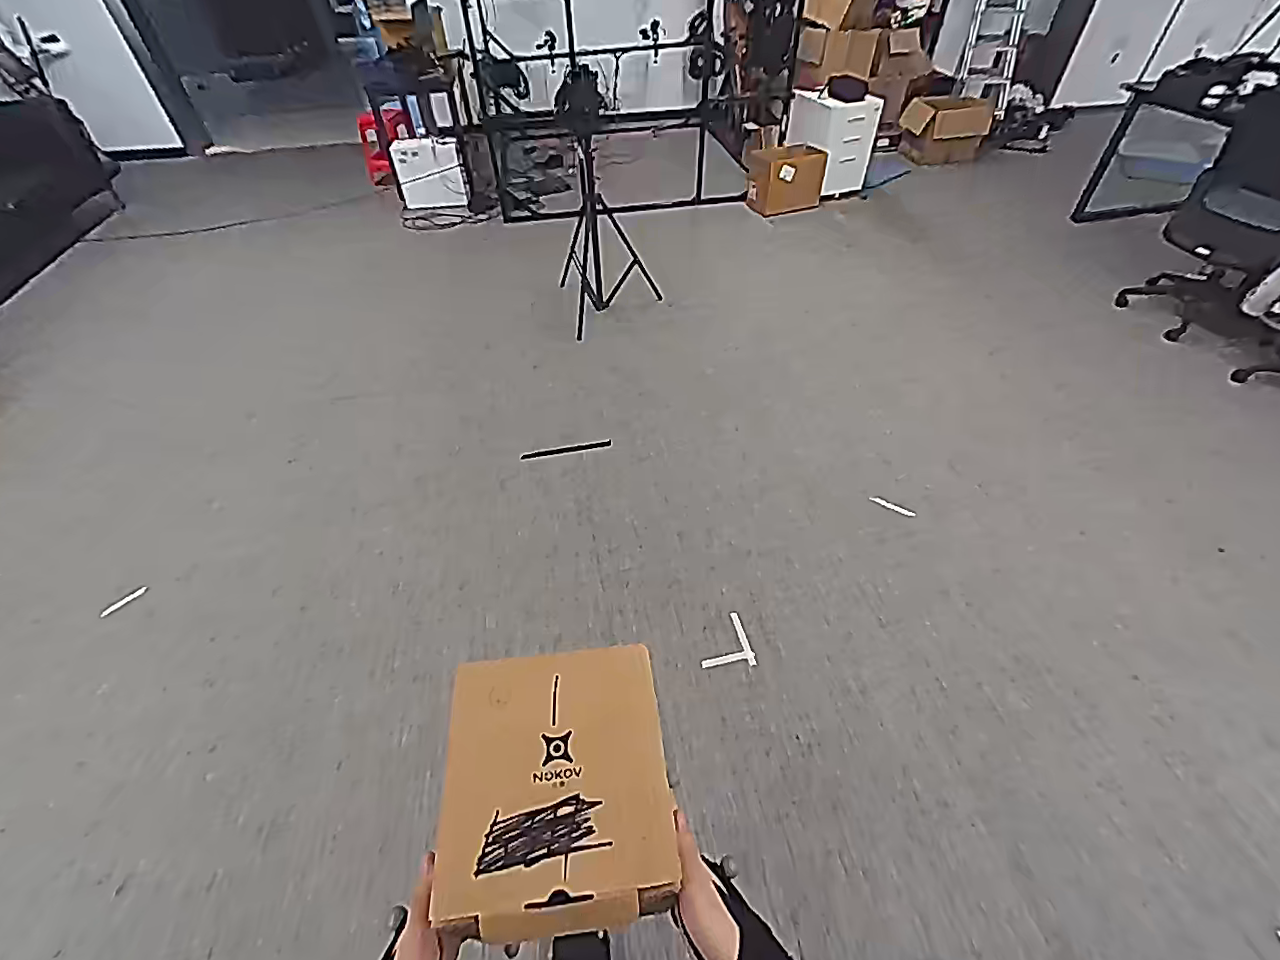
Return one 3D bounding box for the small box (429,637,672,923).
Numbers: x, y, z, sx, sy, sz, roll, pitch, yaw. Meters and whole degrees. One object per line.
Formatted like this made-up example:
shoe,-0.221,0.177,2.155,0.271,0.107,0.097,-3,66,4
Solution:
small box,-0.066,0.262,0.469,0.168,0.176,0.179,-5,46,-6
